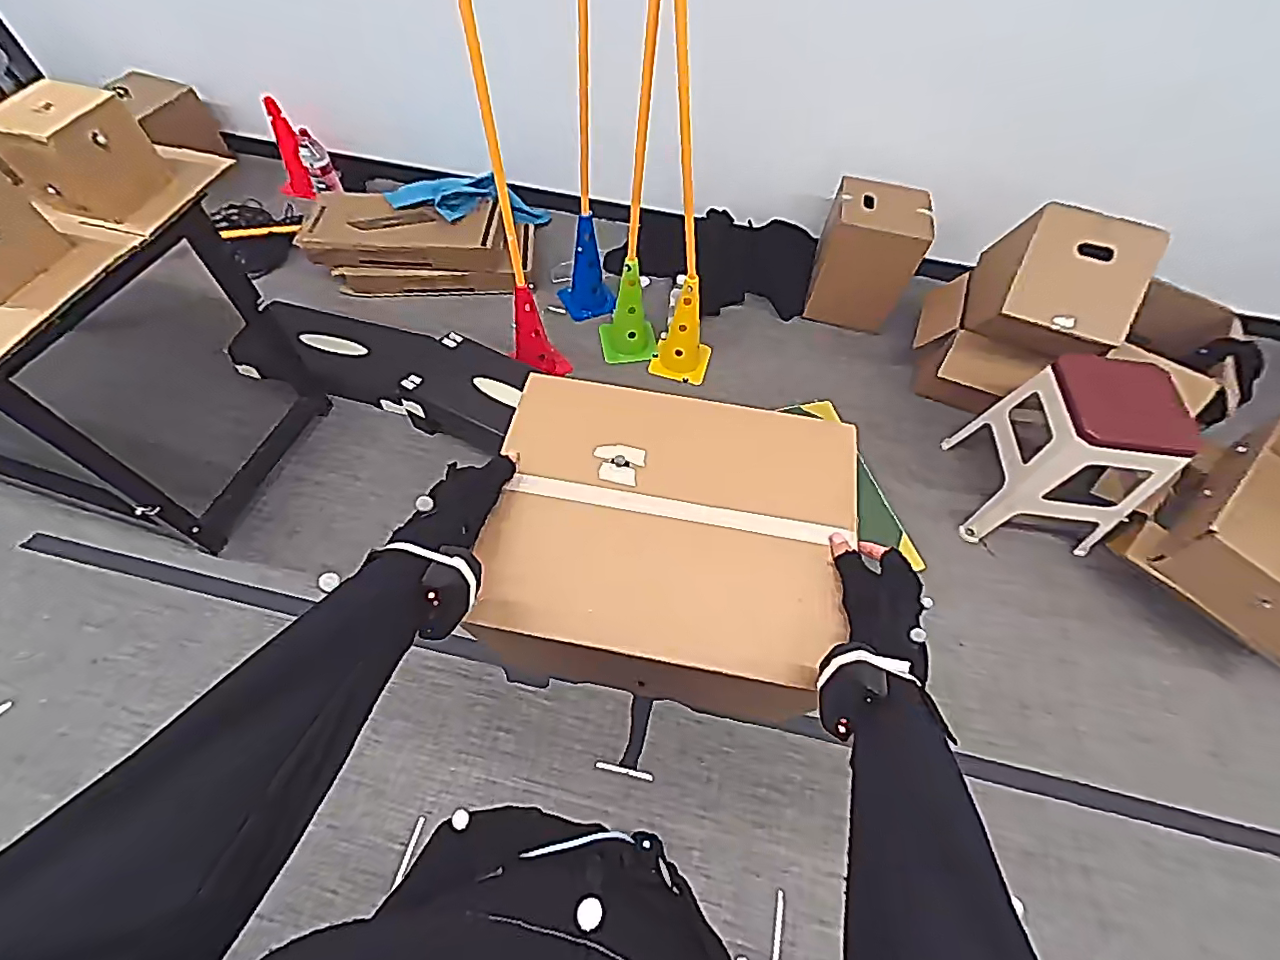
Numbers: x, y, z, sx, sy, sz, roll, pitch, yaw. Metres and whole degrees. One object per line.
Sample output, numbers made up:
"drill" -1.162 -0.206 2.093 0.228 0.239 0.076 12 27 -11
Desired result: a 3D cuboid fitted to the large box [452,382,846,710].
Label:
"large box" 0.030 0.106 0.735 0.408 0.320 0.320 10 62 5
